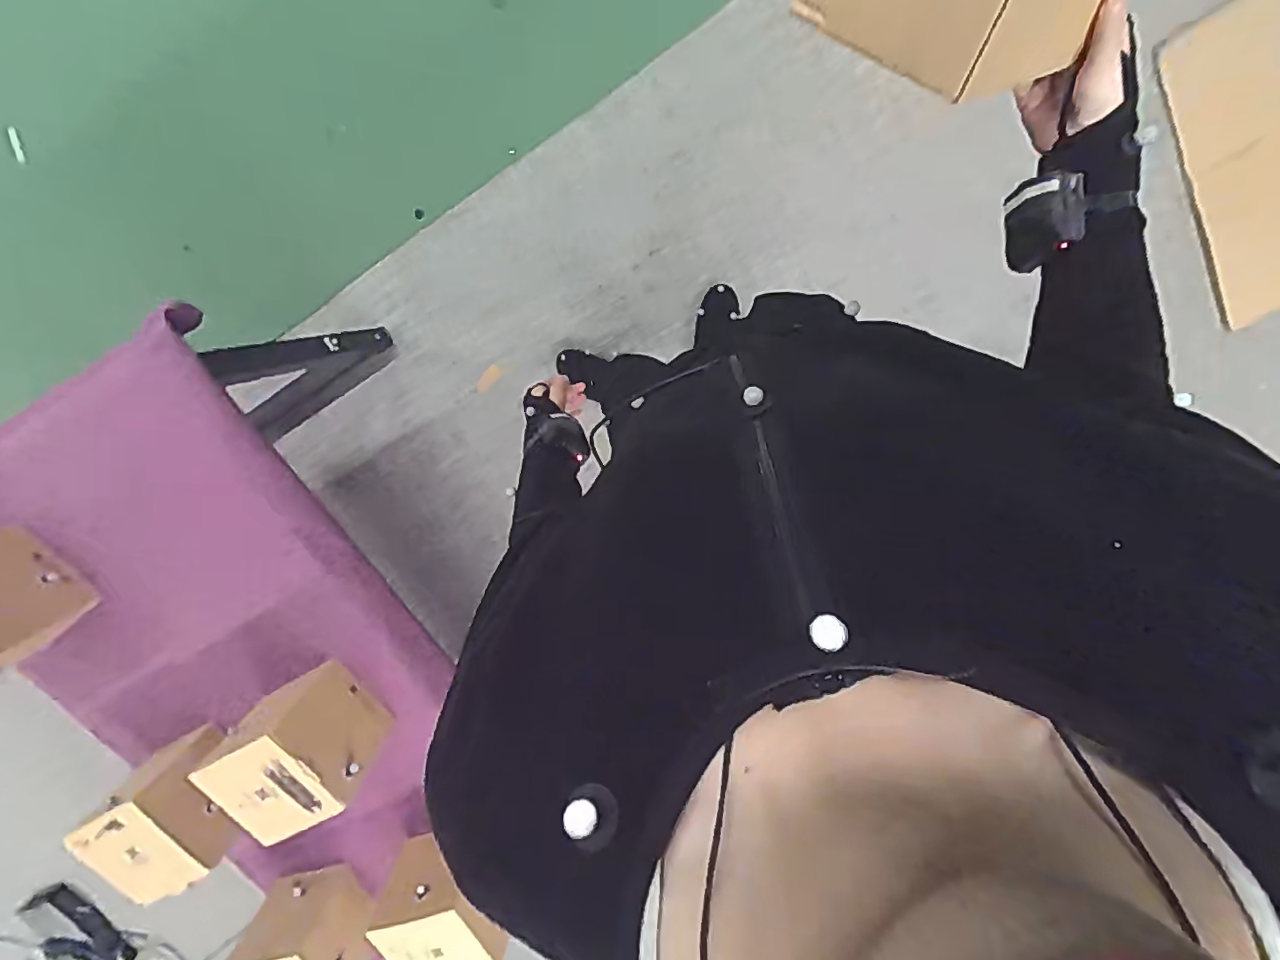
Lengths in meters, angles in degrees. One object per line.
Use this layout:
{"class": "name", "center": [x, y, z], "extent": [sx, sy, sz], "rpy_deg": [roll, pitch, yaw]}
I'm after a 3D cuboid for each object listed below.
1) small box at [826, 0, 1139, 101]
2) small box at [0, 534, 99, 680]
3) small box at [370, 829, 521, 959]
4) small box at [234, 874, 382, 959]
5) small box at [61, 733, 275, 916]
{"class": "small box", "center": [0.242, -0.389, 0.347], "extent": [0.168, 0.179, 0.176], "rpy_deg": [-29, 64, -21]}
{"class": "small box", "center": [-0.986, 0.212, 0.802], "extent": [0.179, 0.176, 0.168], "rpy_deg": [-34, 106, 11]}
{"class": "small box", "center": [-0.329, 0.765, 0.964], "extent": [0.179, 0.176, 0.168], "rpy_deg": [-21, 106, 9]}
{"class": "small box", "center": [-0.618, 0.893, 1.018], "extent": [0.168, 0.176, 0.179], "rpy_deg": [-18, 106, 6]}
{"class": "small box", "center": [-0.780, 0.576, 0.918], "extent": [0.168, 0.176, 0.179], "rpy_deg": [-30, 106, 9]}
